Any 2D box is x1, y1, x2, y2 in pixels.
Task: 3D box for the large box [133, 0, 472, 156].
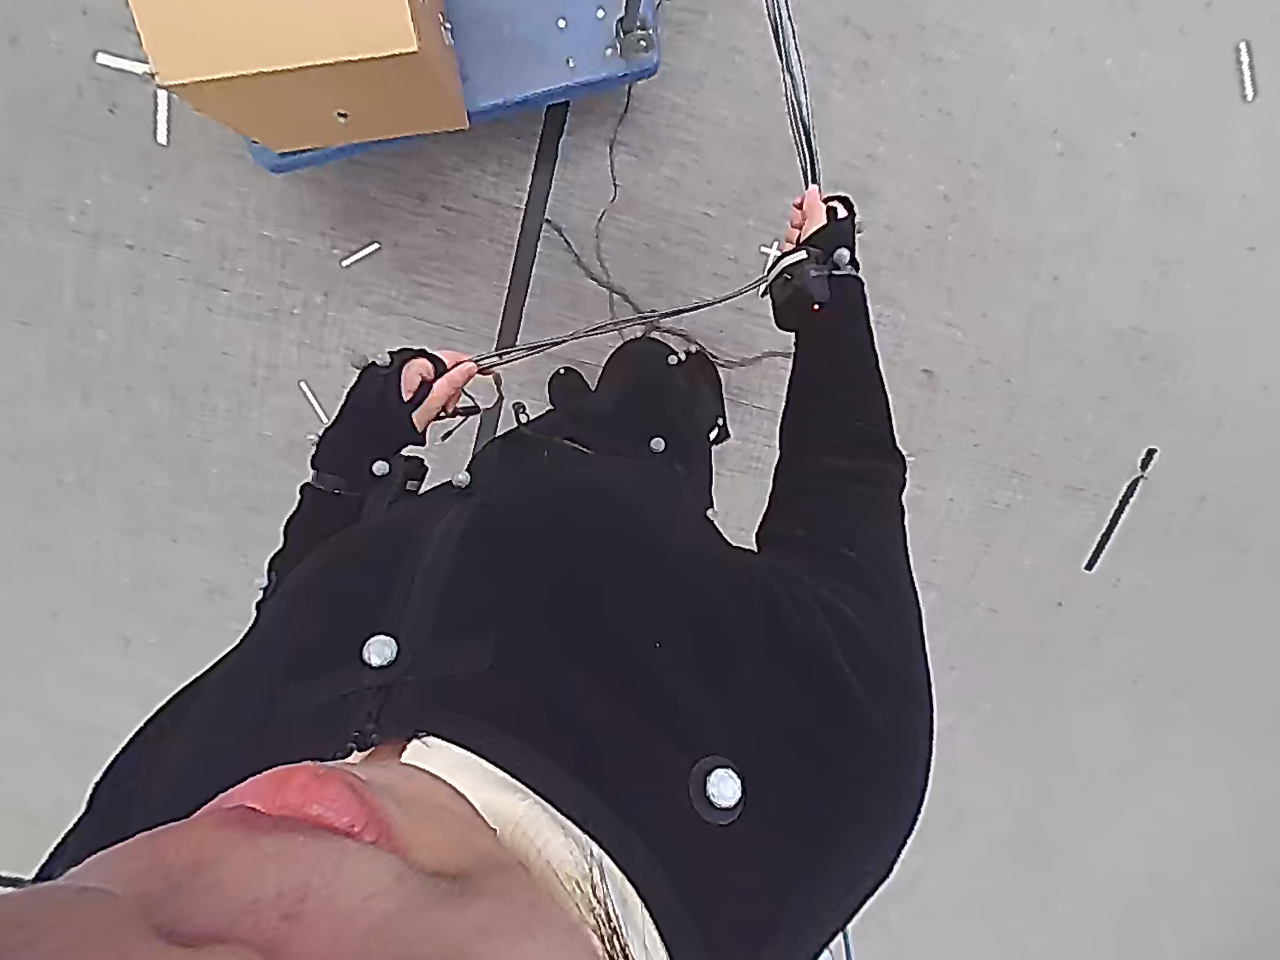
[{"bbox_3d":[-0.555,-0.799,0.929,0.408,0.320,0.320,-9,104,0],"label":"large box"}]
